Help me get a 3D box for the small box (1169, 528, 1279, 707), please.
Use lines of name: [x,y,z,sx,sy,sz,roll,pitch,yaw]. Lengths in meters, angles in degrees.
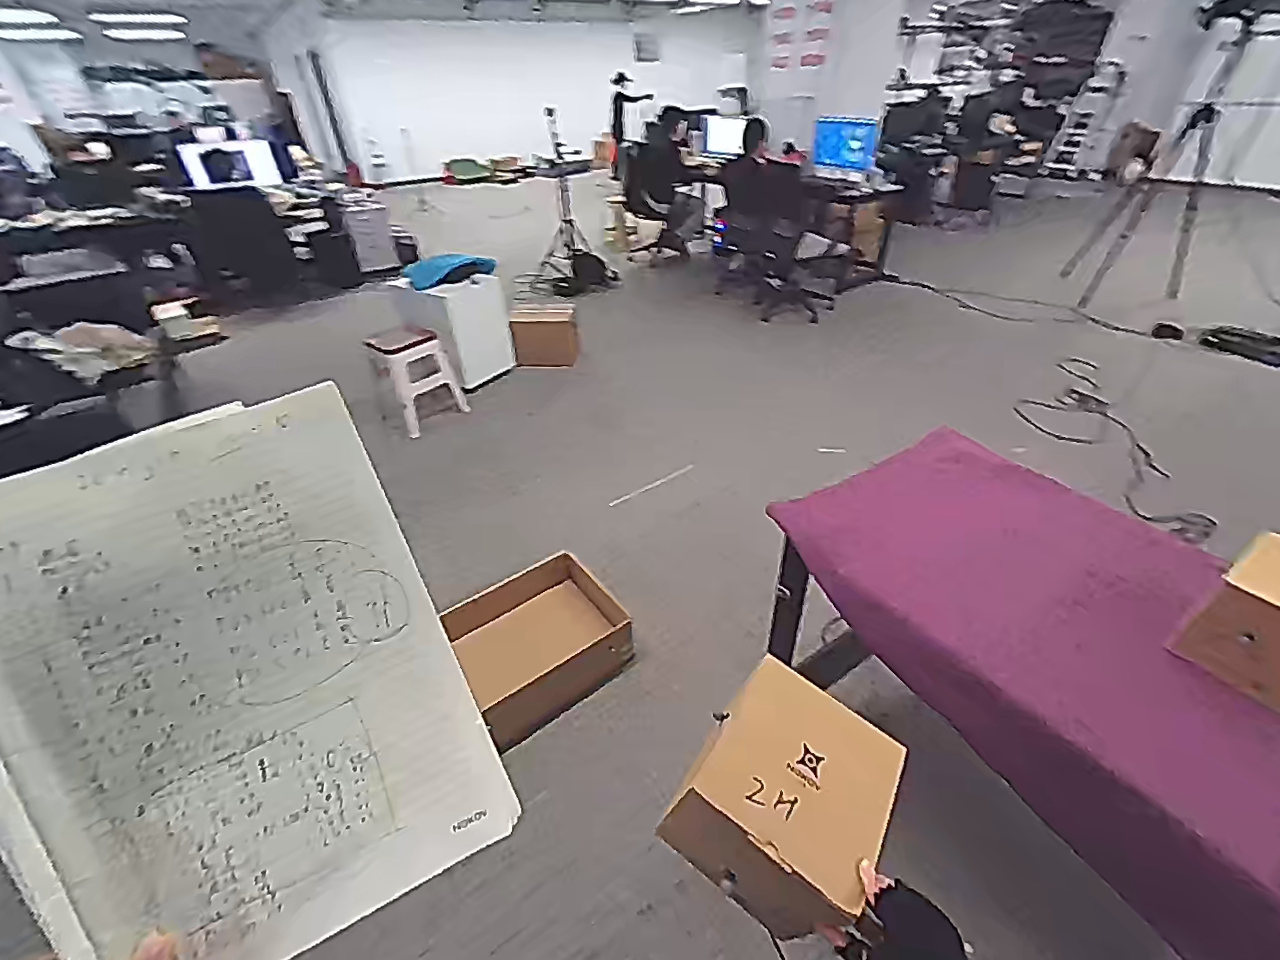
small box: [0.962,0.210,0.816,0.179,0.176,0.168,-23,41,-26]
